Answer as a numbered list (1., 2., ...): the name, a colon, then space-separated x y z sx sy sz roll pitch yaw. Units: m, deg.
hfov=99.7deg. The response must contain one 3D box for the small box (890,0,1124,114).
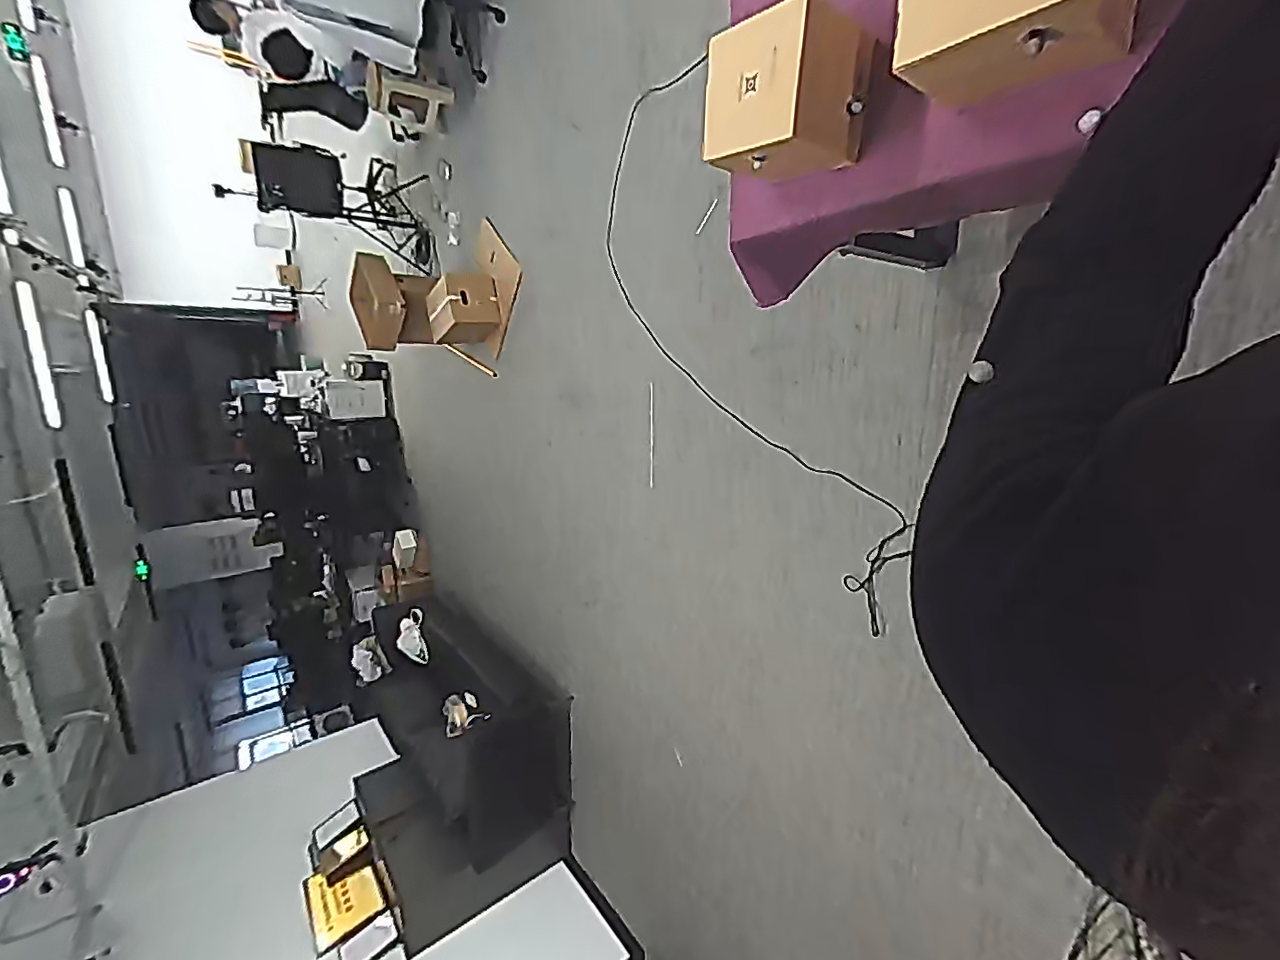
1. small box: 0.404 -0.533 0.584 0.179 0.176 0.168 16 109 50

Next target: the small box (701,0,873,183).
1. small box: 0.218 -0.565 0.818 0.179 0.176 0.168 22 115 48
